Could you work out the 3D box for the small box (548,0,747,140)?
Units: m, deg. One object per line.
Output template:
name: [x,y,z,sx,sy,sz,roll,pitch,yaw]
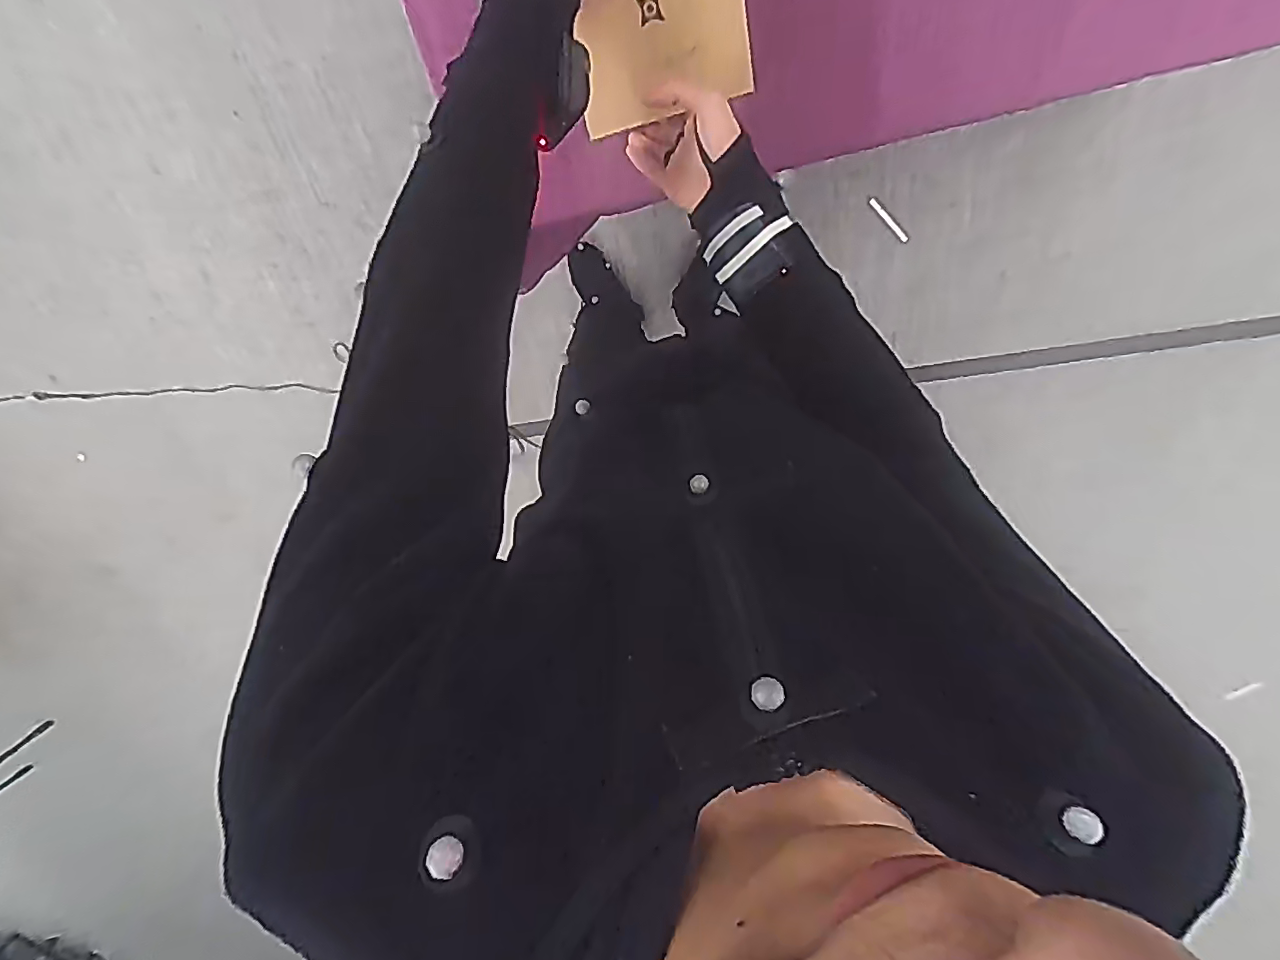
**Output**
small box: [0.010,-0.462,0.536,0.168,0.176,0.179,-8,125,13]
